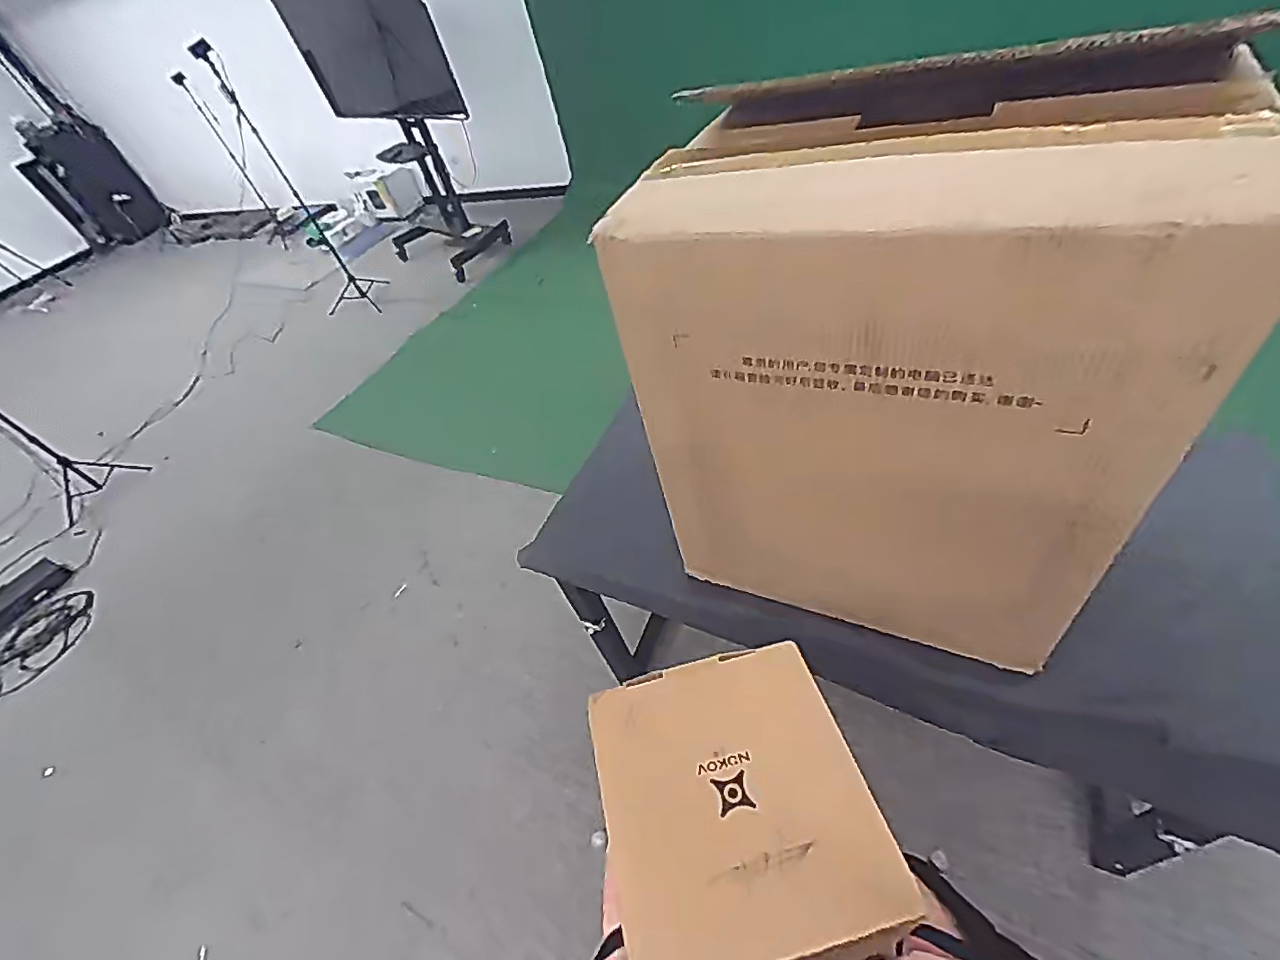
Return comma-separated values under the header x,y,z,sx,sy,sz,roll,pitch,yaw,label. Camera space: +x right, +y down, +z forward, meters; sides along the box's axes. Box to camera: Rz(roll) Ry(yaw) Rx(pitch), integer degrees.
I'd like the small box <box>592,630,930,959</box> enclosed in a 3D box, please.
x,y,z,sx,sy,sz,roll,pitch,yaw,label
0.069,0.247,0.401,0.168,0.176,0.179,-14,43,-6,small box
